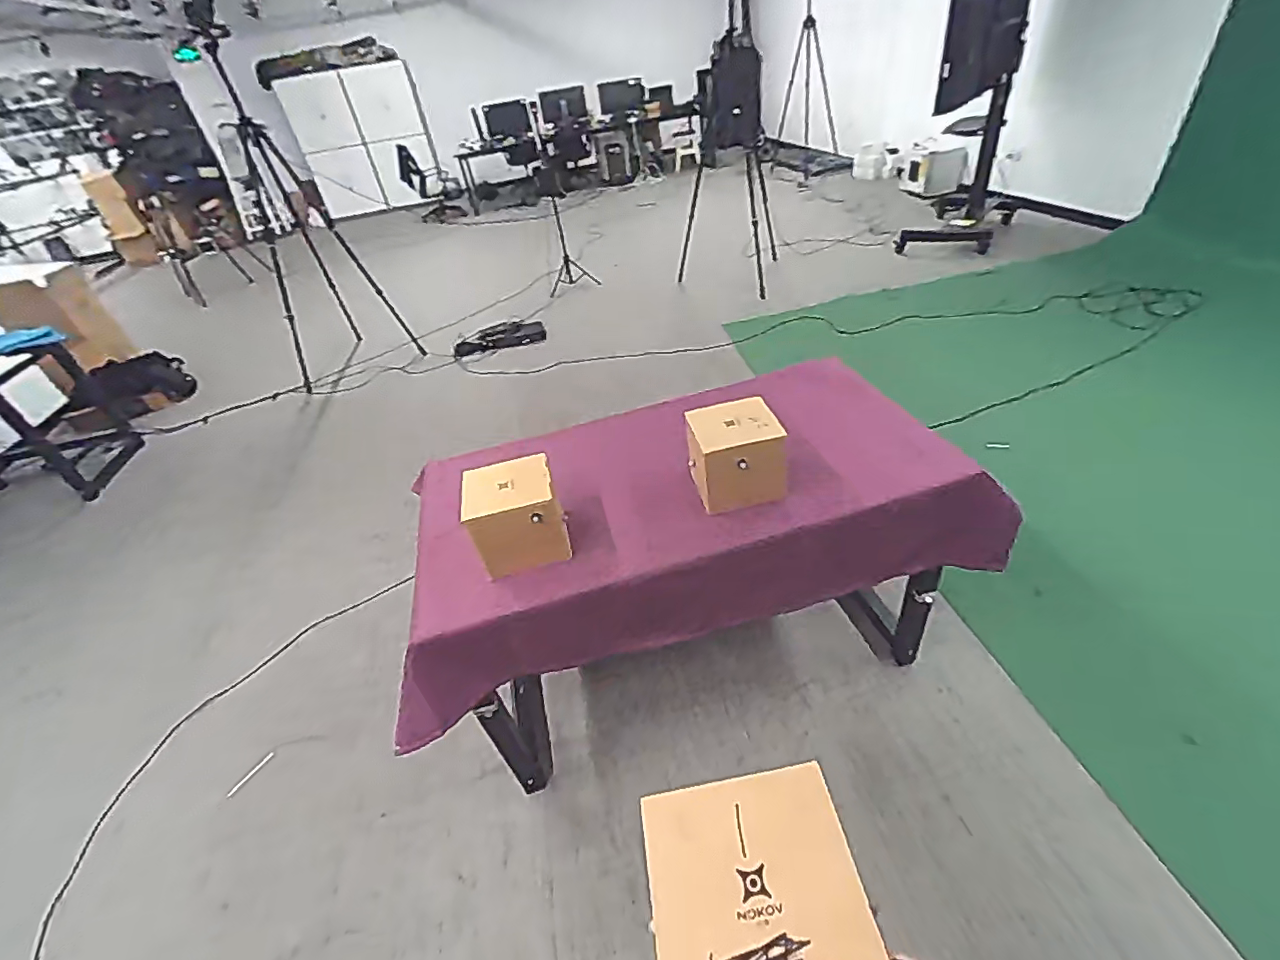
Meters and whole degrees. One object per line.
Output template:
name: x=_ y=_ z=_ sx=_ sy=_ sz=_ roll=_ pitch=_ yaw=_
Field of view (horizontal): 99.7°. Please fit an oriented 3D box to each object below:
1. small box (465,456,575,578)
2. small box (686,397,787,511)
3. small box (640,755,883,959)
small box: x=-0.247 y=0.080 z=1.124 sx=0.179 sy=0.176 sz=0.168 roll=-15 pitch=38 yaw=-5
small box: x=0.210 y=-0.053 z=1.171 sx=0.179 sy=0.176 sz=0.168 roll=-13 pitch=39 yaw=-1
small box: x=0.105 y=0.379 z=0.478 sx=0.168 sy=0.176 sz=0.179 roll=-14 pitch=40 yaw=3
